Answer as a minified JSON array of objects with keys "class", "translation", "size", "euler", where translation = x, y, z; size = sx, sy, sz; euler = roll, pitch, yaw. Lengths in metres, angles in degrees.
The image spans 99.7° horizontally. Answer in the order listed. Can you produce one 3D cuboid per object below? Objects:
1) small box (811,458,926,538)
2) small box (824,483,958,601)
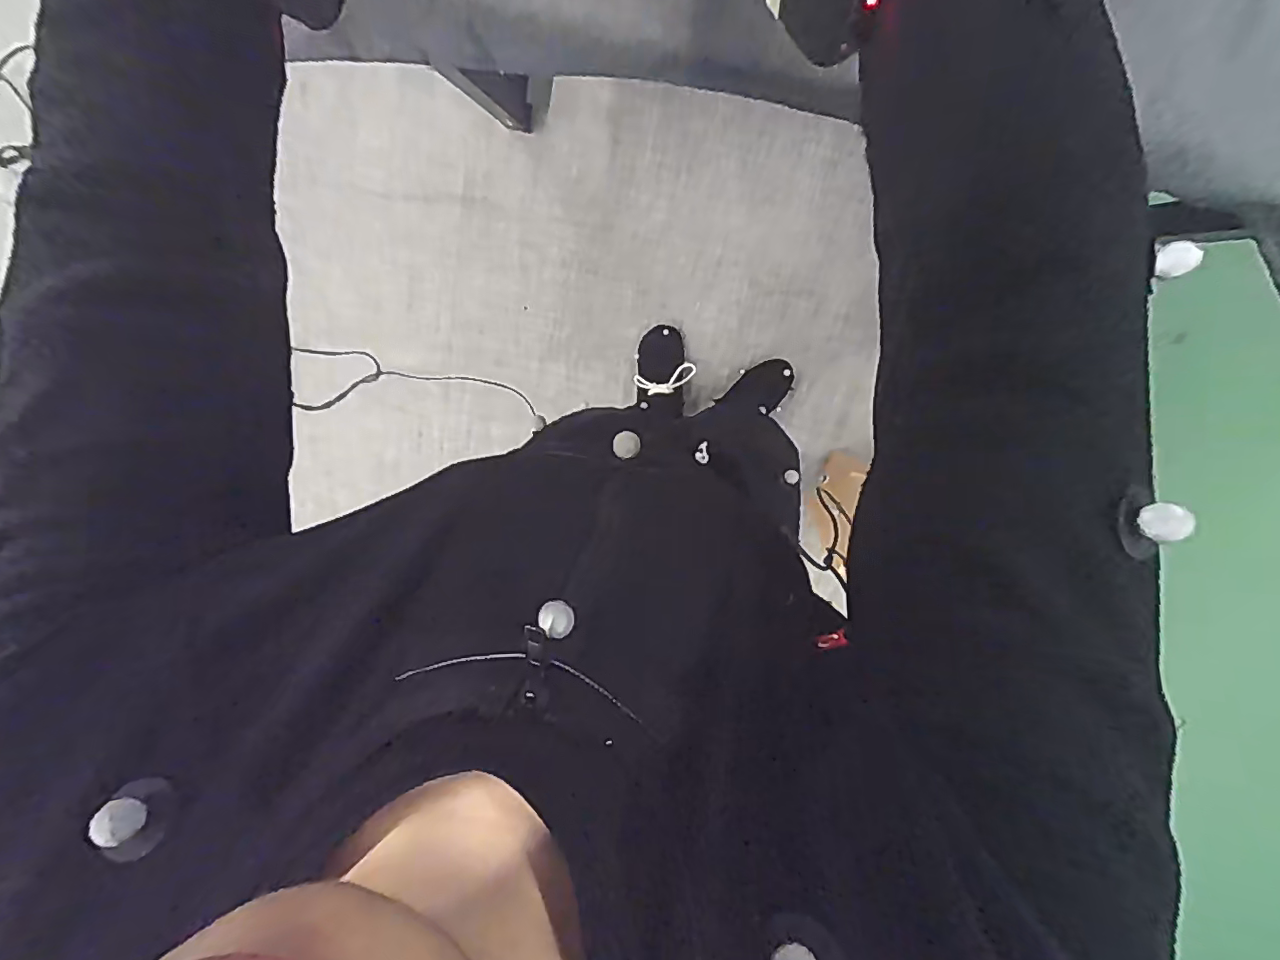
[{"class":"small box","translation":[0.534,0.061,1.291],"size":[0.179,0.176,0.168],"euler":[18,110,0]},{"class":"small box","translation":[0.515,0.122,1.139],"size":[0.179,0.176,0.168],"euler":[18,109,0]}]
